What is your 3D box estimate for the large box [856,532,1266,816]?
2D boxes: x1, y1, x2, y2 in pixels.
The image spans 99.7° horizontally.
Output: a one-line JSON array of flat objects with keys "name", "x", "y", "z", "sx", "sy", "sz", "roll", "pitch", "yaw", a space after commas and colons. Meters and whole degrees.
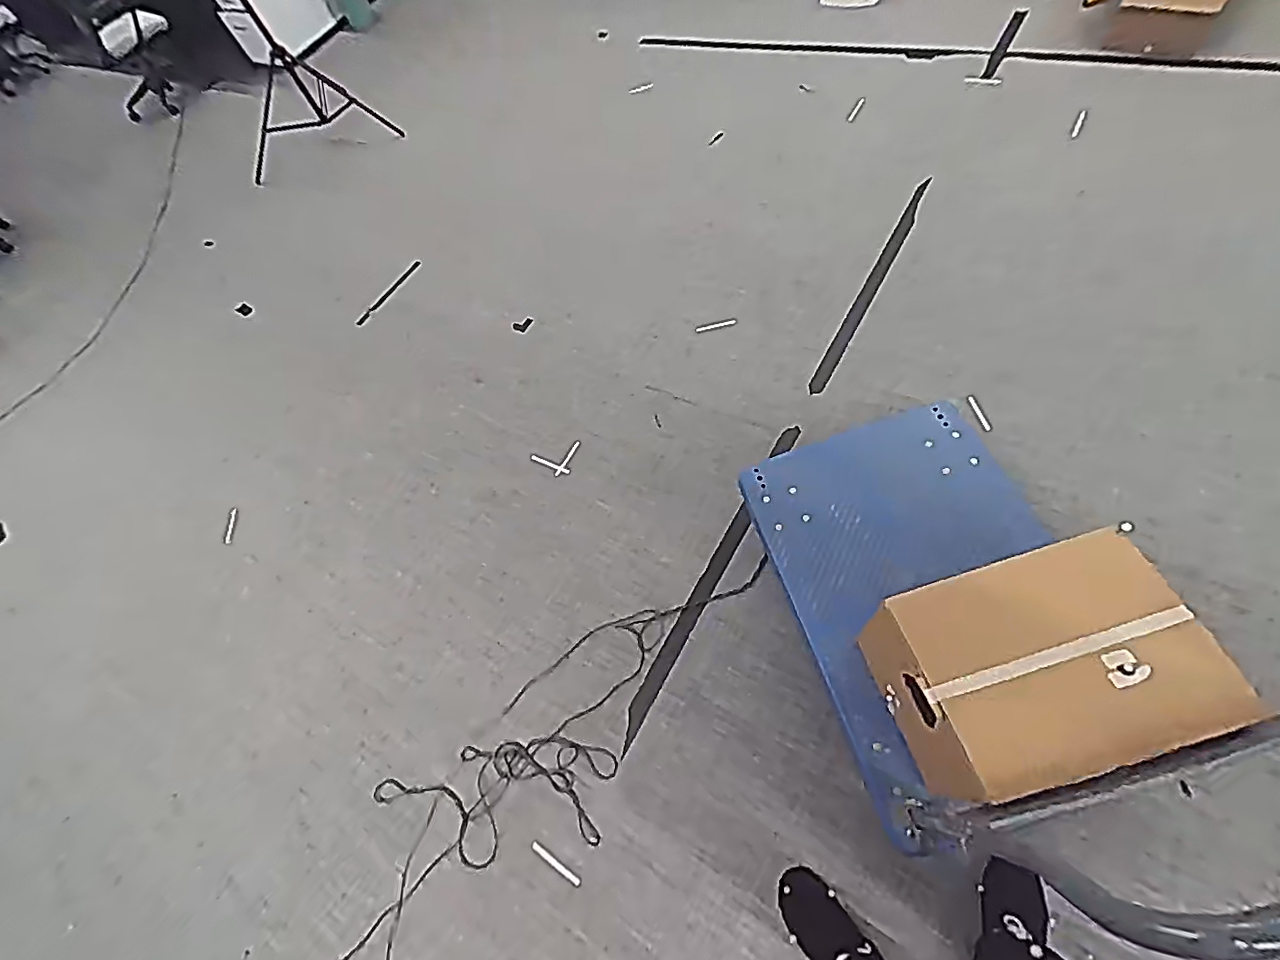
[{"name": "large box", "x": 0.655, "y": 0.345, "z": 0.943, "sx": 0.408, "sy": 0.320, "sz": 0.320, "roll": -19, "pitch": 60, "yaw": 1}]
